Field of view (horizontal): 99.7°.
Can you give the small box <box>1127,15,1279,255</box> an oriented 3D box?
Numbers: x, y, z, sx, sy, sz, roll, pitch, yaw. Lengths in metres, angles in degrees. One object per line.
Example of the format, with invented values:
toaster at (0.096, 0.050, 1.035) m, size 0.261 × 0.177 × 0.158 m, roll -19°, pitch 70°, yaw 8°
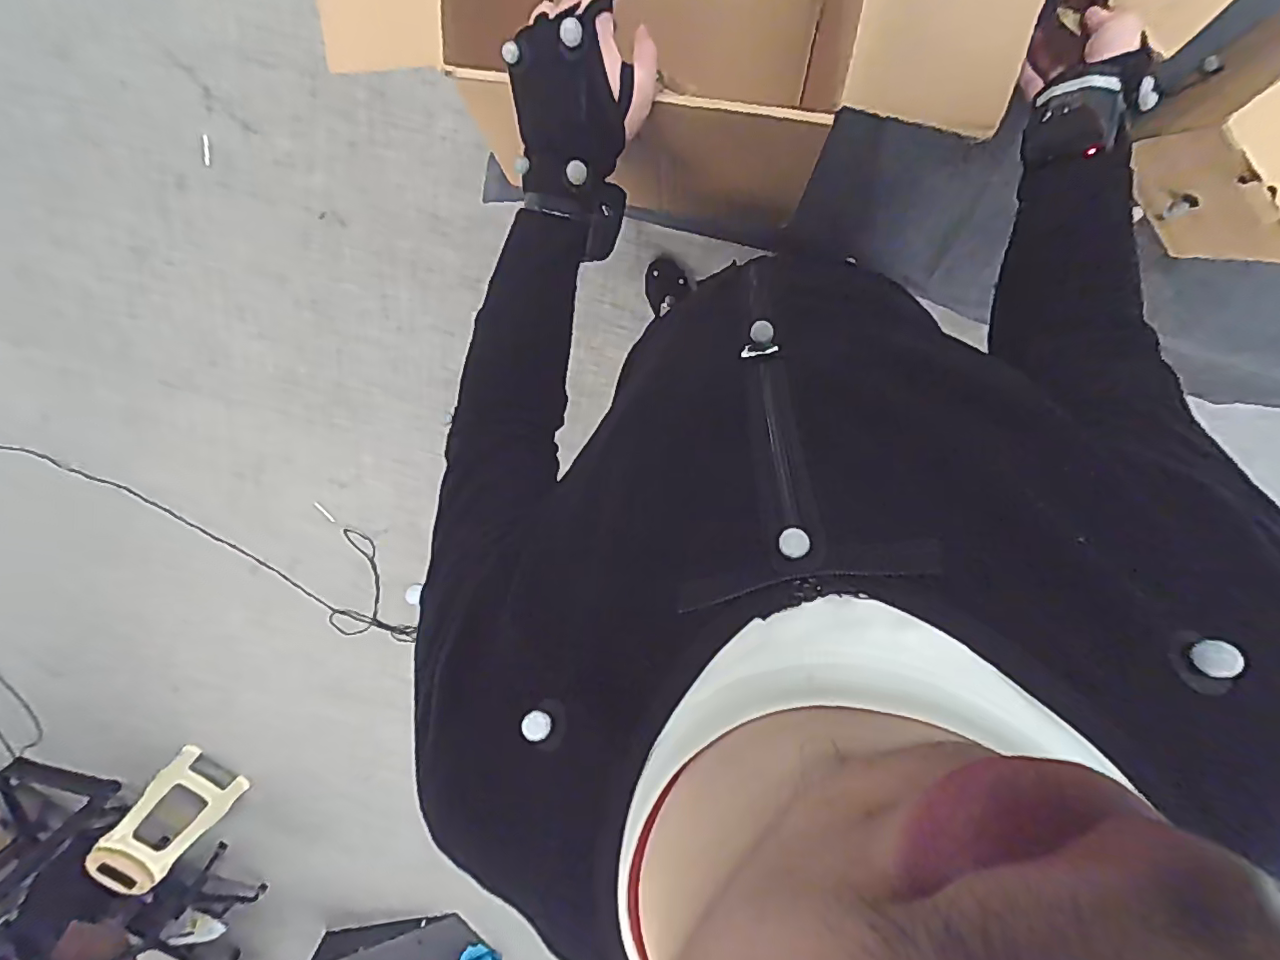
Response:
small box at (0.645, -0.346, 0.536) m, size 0.179 × 0.176 × 0.168 m, roll -39°, pitch 104°, yaw 23°
